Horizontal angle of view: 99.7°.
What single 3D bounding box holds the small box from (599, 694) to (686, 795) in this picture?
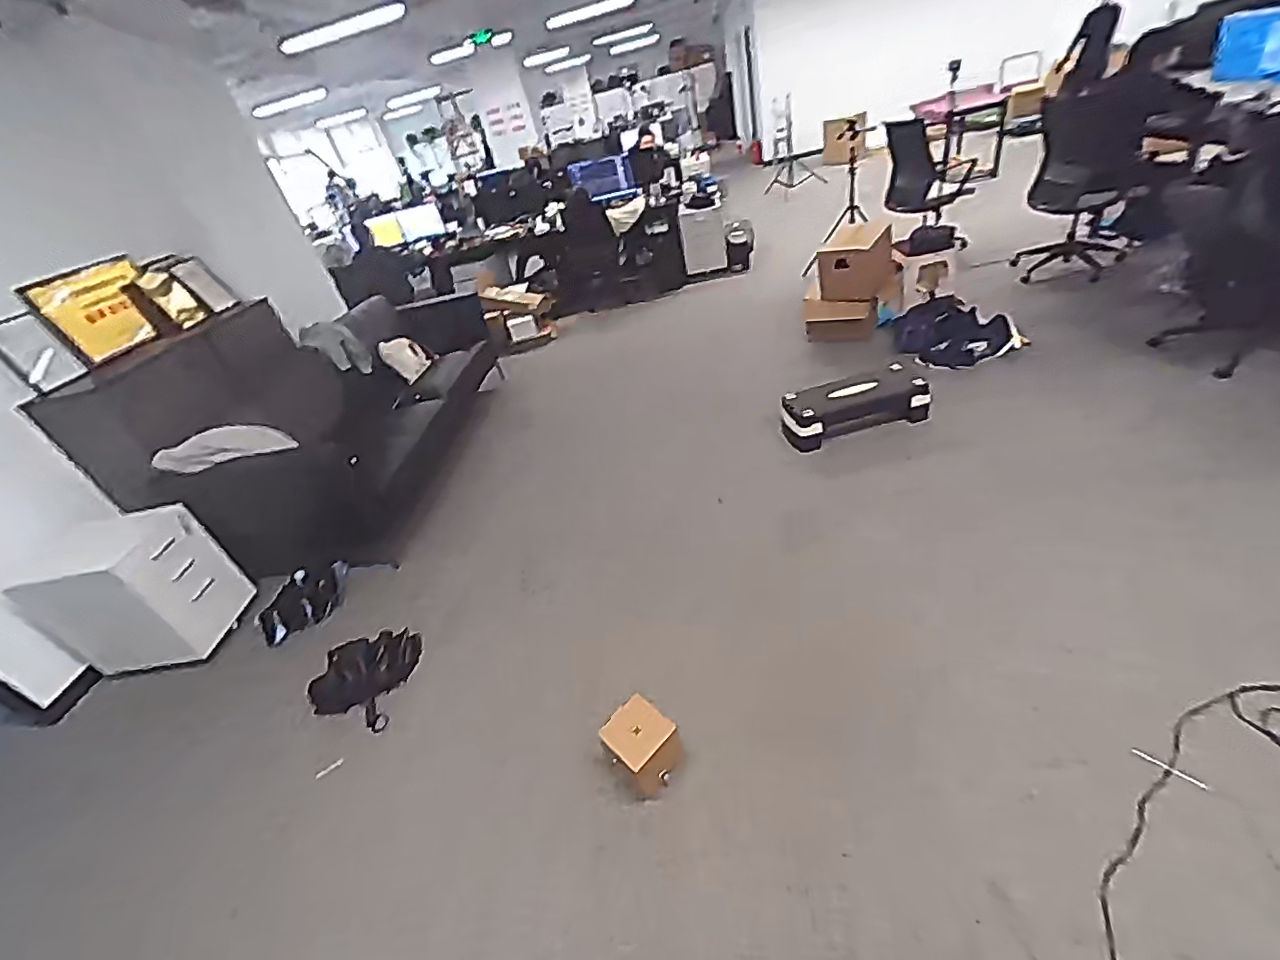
[{"bbox_3d":[0.011,0.776,1.582,0.168,0.176,0.179,-39,41,-28],"label":"small box"}]
